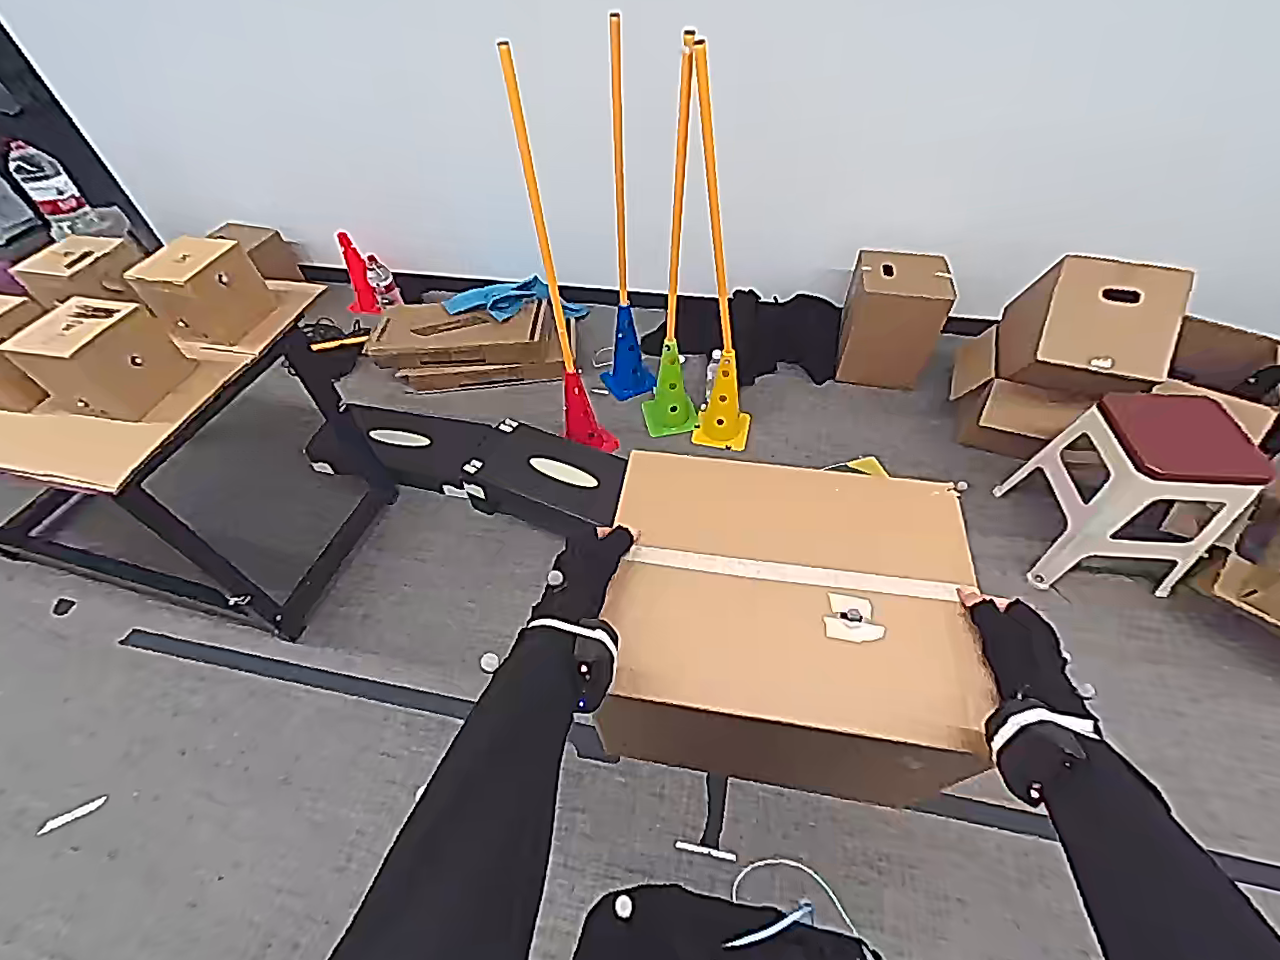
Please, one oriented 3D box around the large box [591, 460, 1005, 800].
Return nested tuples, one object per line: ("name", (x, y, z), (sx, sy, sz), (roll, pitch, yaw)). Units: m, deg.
("large box", (0.172, 0.203, 0.729), (0.408, 0.320, 0.320), (7, 53, 8))
